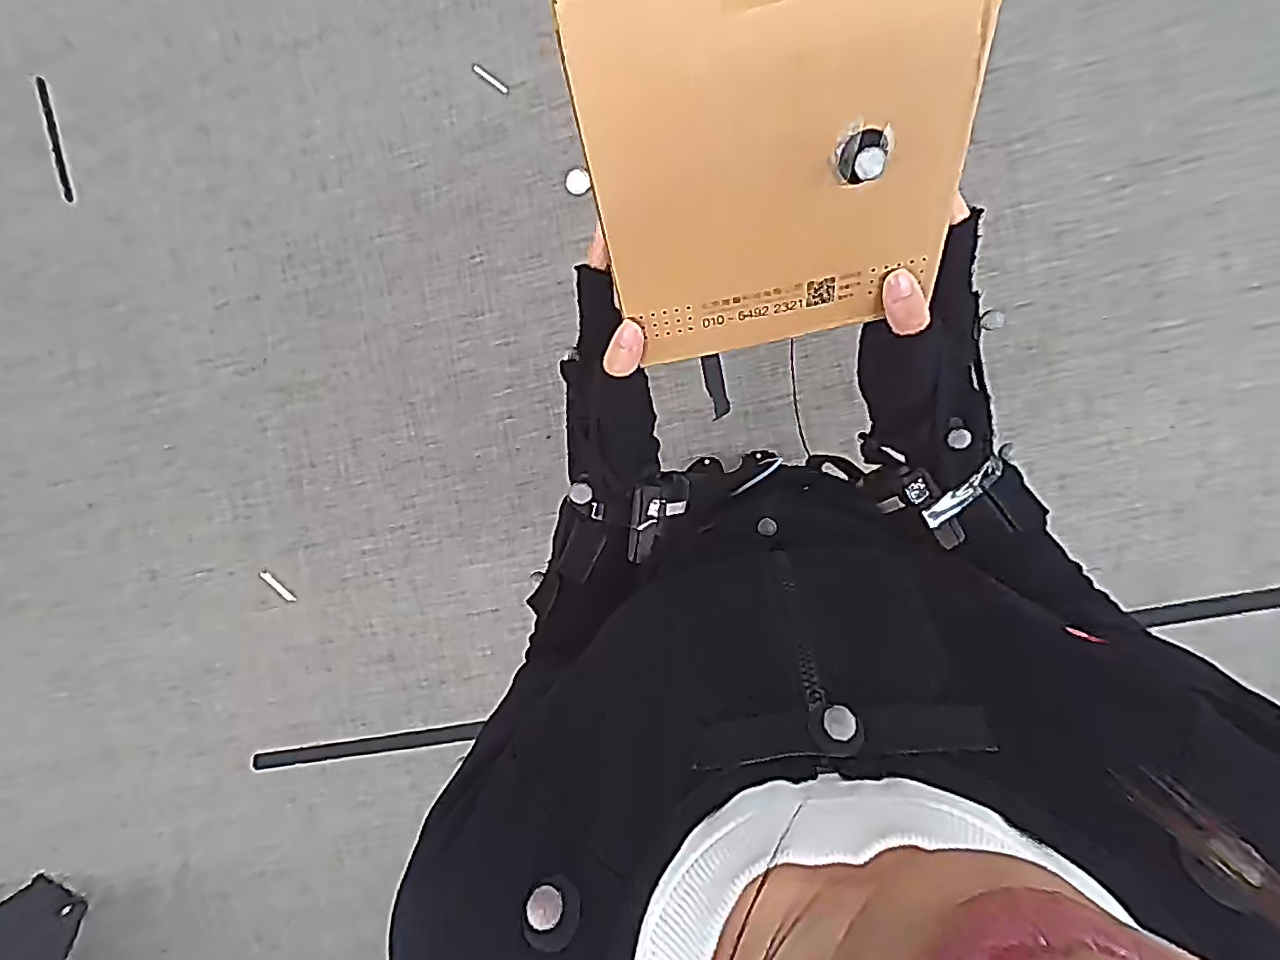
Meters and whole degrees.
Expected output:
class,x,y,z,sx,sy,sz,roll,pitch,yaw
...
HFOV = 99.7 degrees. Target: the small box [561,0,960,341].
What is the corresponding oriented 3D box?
class,x,y,z,sx,sy,sz,roll,pitch,yaw
small box,0.059,-0.198,0.317,0.168,0.176,0.179,-10,48,5
